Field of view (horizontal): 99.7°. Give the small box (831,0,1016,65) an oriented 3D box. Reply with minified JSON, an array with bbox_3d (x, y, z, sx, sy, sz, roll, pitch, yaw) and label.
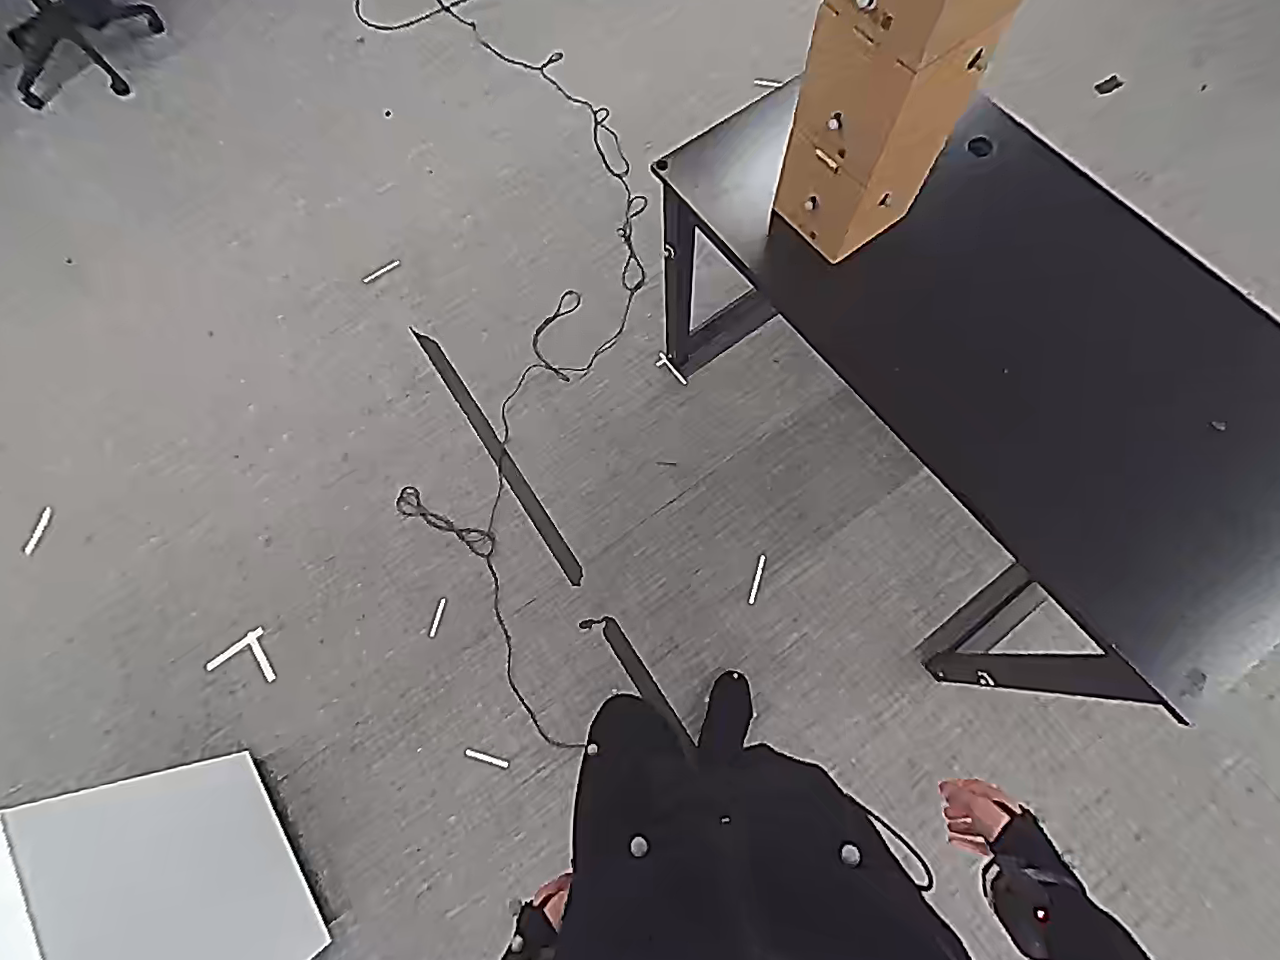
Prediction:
[{"bbox_3d":[0.339,-0.608,0.582,0.179,0.176,0.168,-36,73,-7],"label":"small box"}]

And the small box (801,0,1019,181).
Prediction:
[{"bbox_3d":[0.348,-0.560,0.738,0.179,0.176,0.168,-36,73,-8],"label":"small box"}]

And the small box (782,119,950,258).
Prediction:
[{"bbox_3d":[0.356,-0.510,0.895,0.179,0.176,0.168,-37,74,-7],"label":"small box"}]
